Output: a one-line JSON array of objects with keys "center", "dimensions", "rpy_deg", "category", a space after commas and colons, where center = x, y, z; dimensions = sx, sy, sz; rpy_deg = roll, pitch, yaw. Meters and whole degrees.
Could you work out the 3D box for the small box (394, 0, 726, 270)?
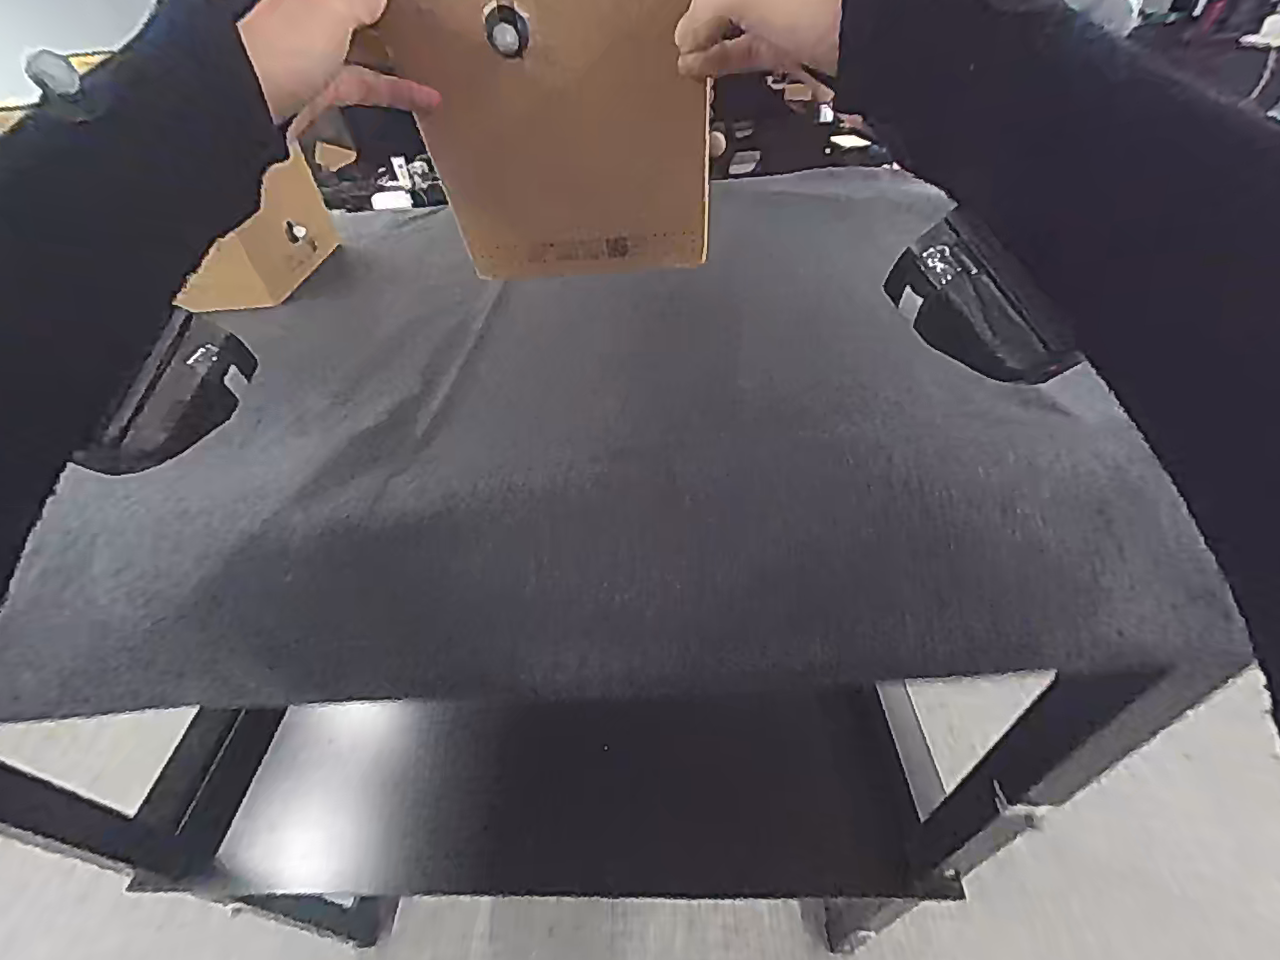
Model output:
[{"center": [-0.035, -0.264, 0.356], "dimensions": [0.168, 0.176, 0.179], "rpy_deg": [-2, 56, 4], "category": "small box"}]
